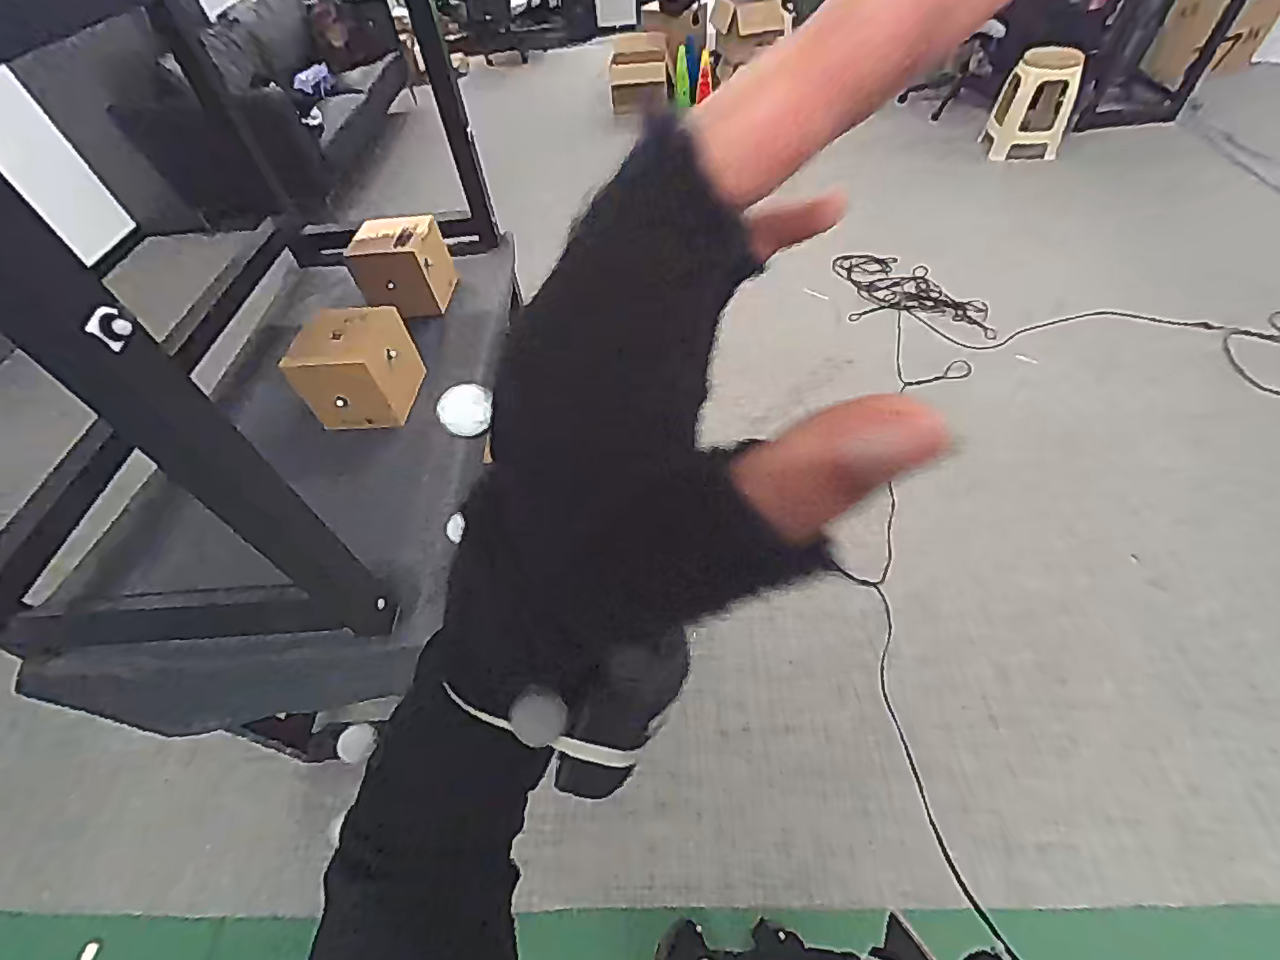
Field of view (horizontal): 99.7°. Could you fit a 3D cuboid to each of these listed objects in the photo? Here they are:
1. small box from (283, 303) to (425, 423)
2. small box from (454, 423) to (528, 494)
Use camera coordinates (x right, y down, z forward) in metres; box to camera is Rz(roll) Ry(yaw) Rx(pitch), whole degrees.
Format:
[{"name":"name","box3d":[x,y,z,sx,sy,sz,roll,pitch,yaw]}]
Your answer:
[{"name":"small box","box3d":[-0.554,-0.227,1.078,0.168,0.176,0.179,-1,52,4]},{"name":"small box","box3d":[-0.469,-0.066,1.741,0.179,0.176,0.168,-1,51,4]}]
